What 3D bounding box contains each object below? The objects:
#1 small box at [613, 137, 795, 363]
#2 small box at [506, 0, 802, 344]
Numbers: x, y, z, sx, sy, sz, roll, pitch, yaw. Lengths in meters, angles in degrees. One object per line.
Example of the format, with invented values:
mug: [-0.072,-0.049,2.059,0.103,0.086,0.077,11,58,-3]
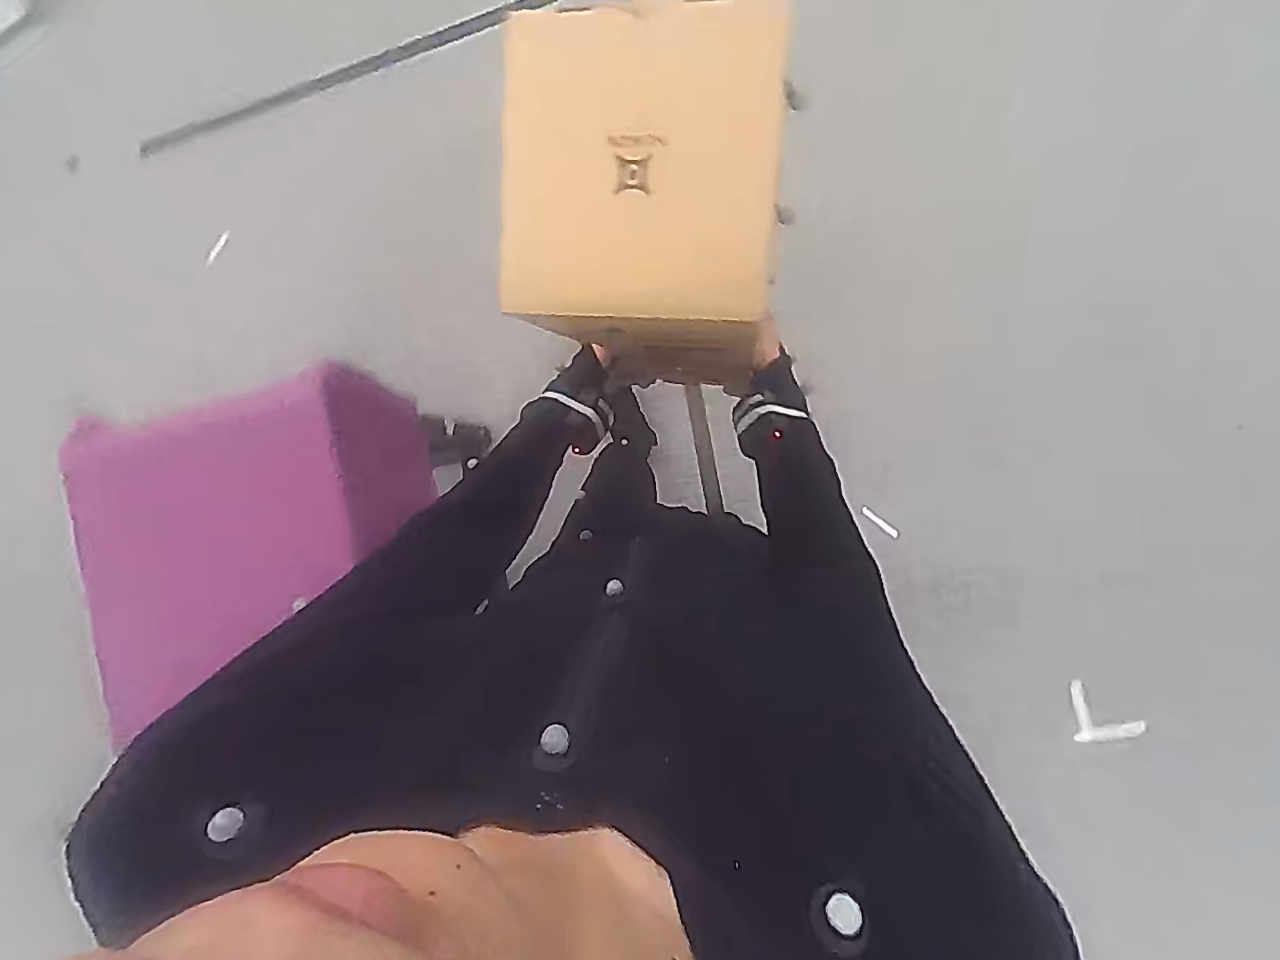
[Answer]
small box: [0.053,-0.221,0.547,0.168,0.176,0.179,9,100,10]
small box: [0.018,-0.197,0.390,0.168,0.176,0.179,5,98,11]
